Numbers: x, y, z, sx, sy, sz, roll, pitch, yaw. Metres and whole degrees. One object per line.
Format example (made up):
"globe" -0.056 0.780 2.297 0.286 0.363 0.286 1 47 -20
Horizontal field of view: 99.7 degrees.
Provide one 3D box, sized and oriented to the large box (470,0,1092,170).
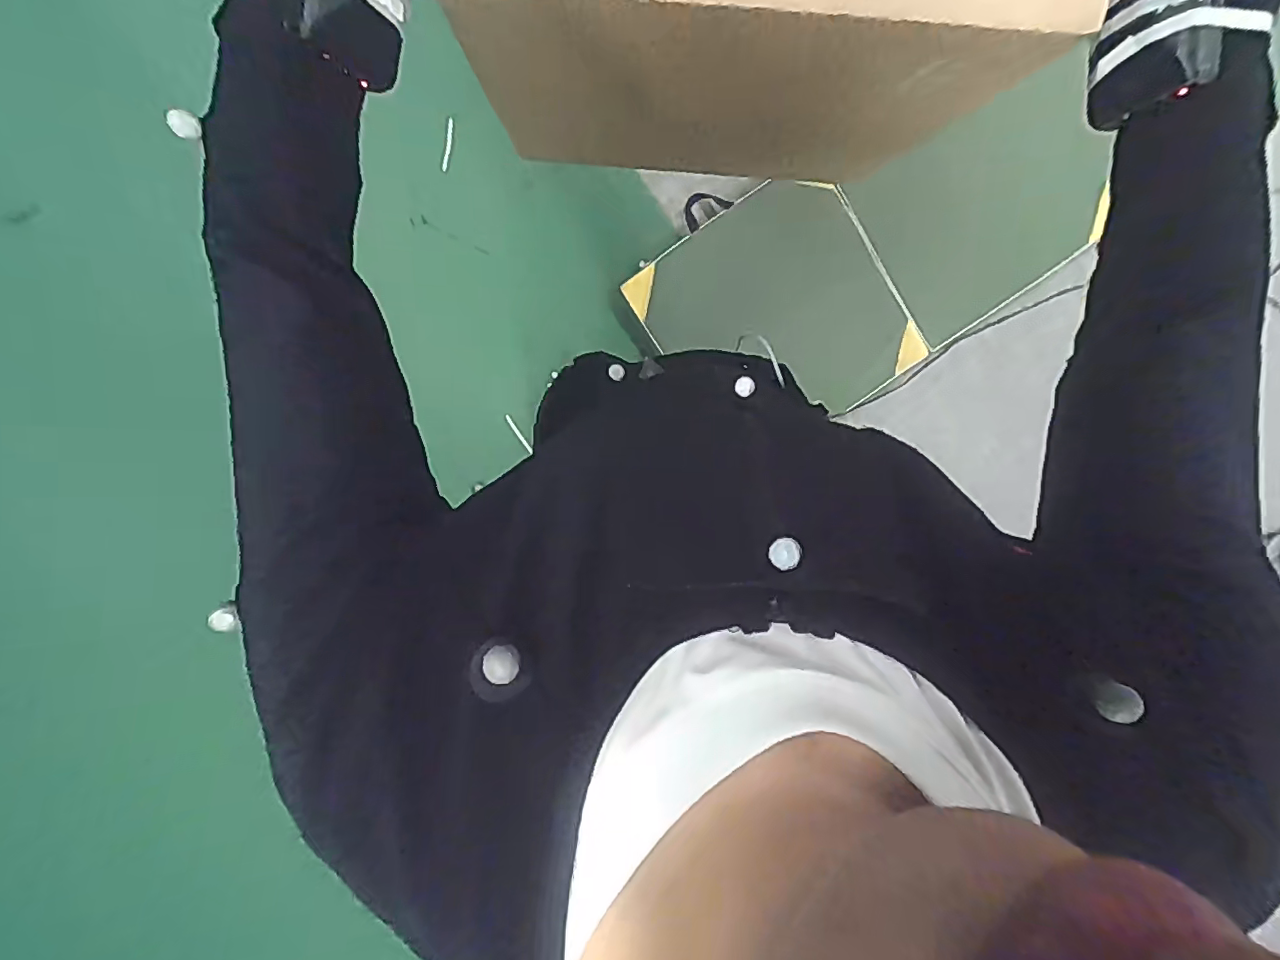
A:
"large box" 0.082 -0.475 0.438 0.408 0.320 0.320 2 105 -4
